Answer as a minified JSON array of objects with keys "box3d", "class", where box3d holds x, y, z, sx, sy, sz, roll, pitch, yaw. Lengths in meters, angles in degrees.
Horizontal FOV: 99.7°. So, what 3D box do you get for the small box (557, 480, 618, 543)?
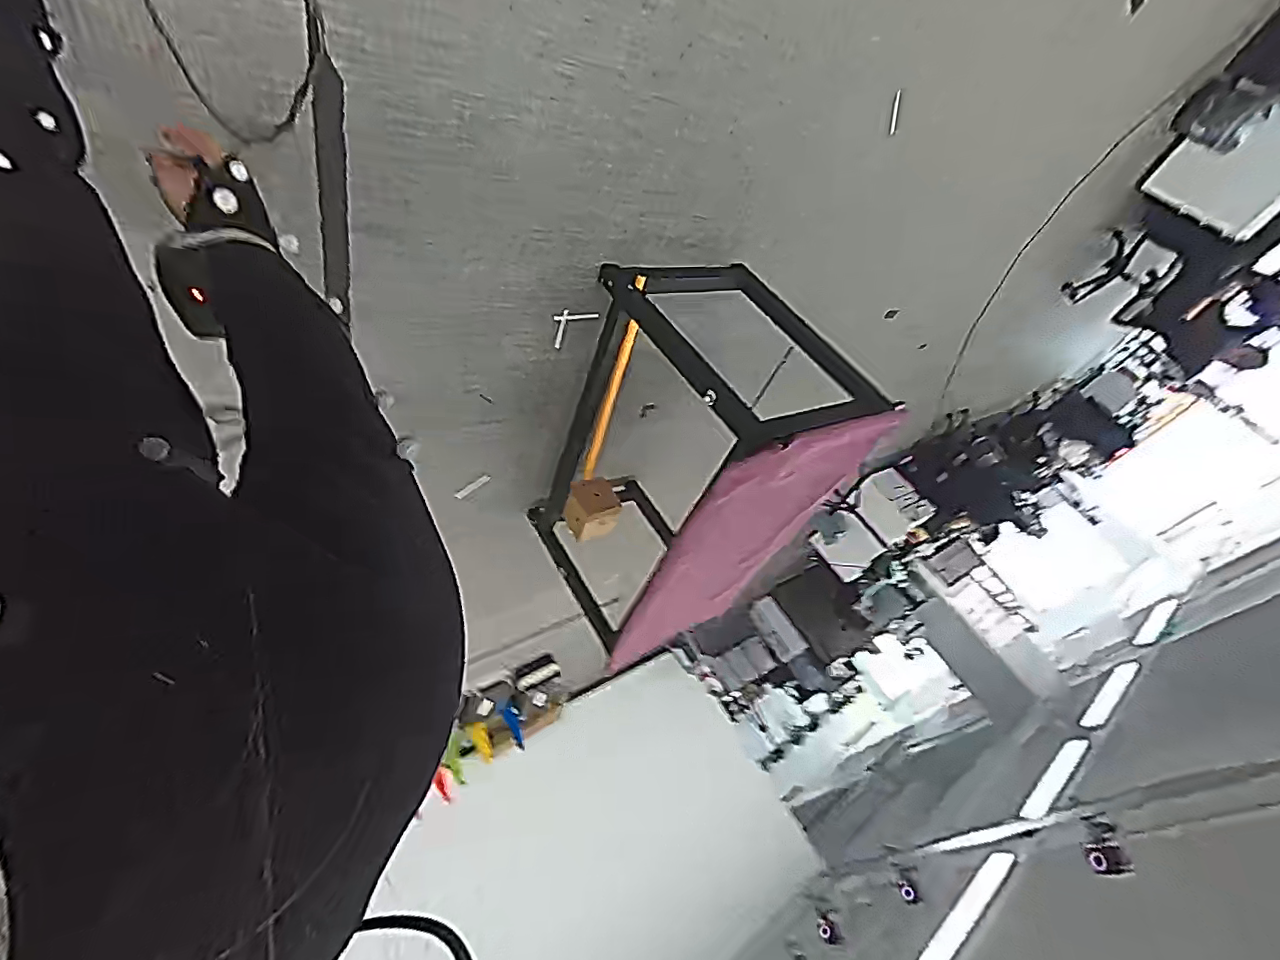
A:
[{"box3d":[-0.215,0.118,2.158,0.168,0.176,0.179,-15,146,-34],"class":"small box"}]
